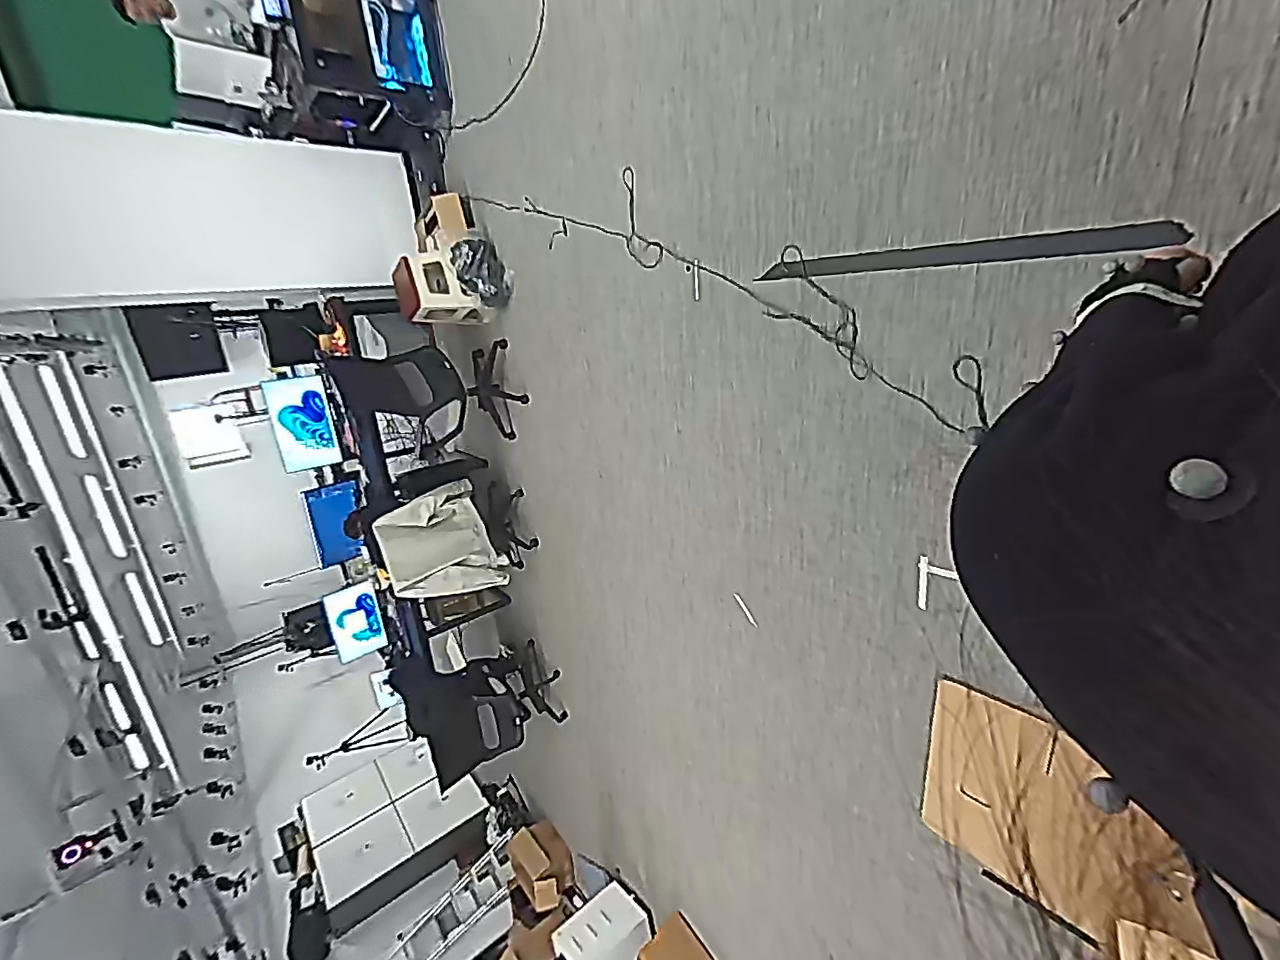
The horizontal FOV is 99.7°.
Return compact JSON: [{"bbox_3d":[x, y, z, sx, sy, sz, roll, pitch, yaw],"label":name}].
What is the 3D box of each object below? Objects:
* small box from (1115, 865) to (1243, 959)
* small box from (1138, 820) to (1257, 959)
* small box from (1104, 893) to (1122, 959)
[{"bbox_3d":[1.103,0.952,1.104,0.168,0.176,0.179,-3,102,51],"label":"small box"},{"bbox_3d":[1.232,0.904,1.195,0.168,0.176,0.179,-3,101,53],"label":"small box"},{"bbox_3d":[1.242,1.165,1.300,0.168,0.176,0.179,4,108,51],"label":"small box"}]
